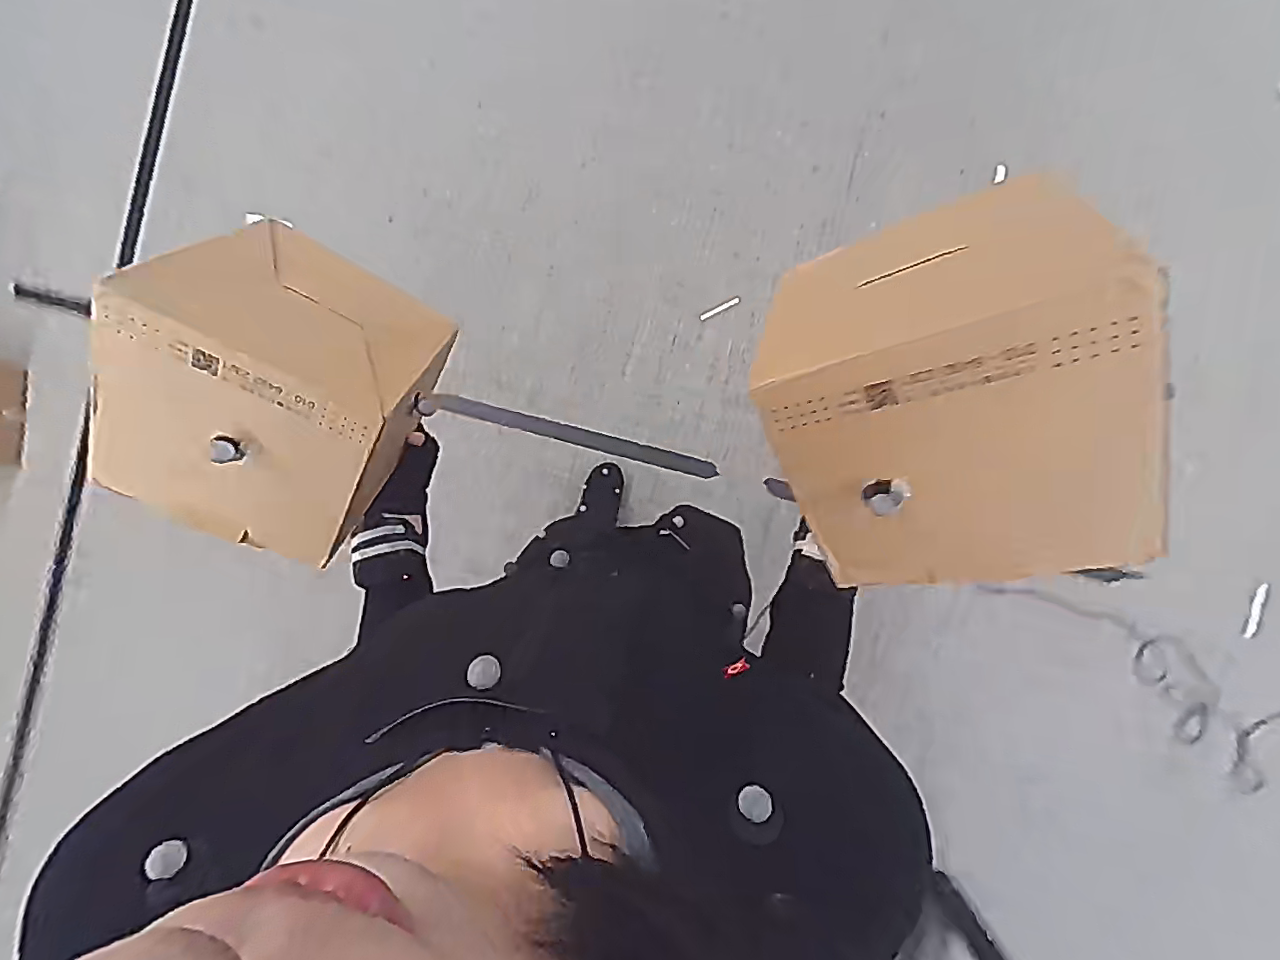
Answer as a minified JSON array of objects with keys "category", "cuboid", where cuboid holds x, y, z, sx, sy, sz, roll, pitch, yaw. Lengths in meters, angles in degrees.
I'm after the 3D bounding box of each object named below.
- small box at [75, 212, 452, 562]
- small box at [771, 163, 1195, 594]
[{"category":"small box","cuboid":[-0.270,-0.076,0.414,0.168,0.179,0.176,28,121,-17]},{"category":"small box","cuboid":[0.189,-0.056,0.325,0.168,0.179,0.176,-10,125,30]}]
